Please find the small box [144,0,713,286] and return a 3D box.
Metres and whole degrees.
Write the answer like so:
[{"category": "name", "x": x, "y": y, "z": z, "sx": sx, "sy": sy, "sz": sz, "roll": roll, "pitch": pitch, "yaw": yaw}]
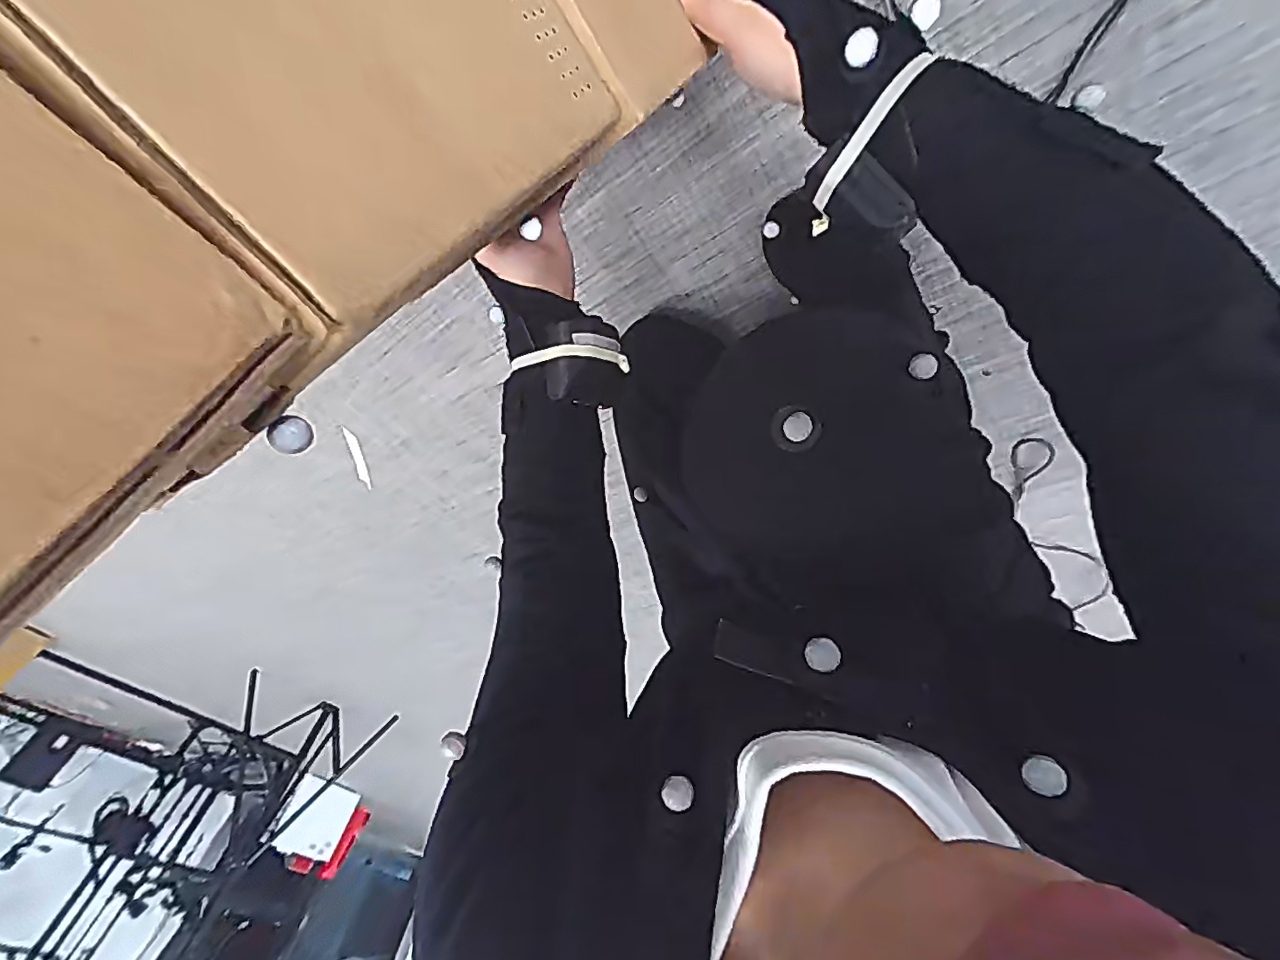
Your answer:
[{"category": "small box", "x": -0.085, "y": -0.236, "z": 0.266, "sx": 0.179, "sy": 0.176, "sz": 0.168, "roll": -17, "pitch": 126, "yaw": 34}]
